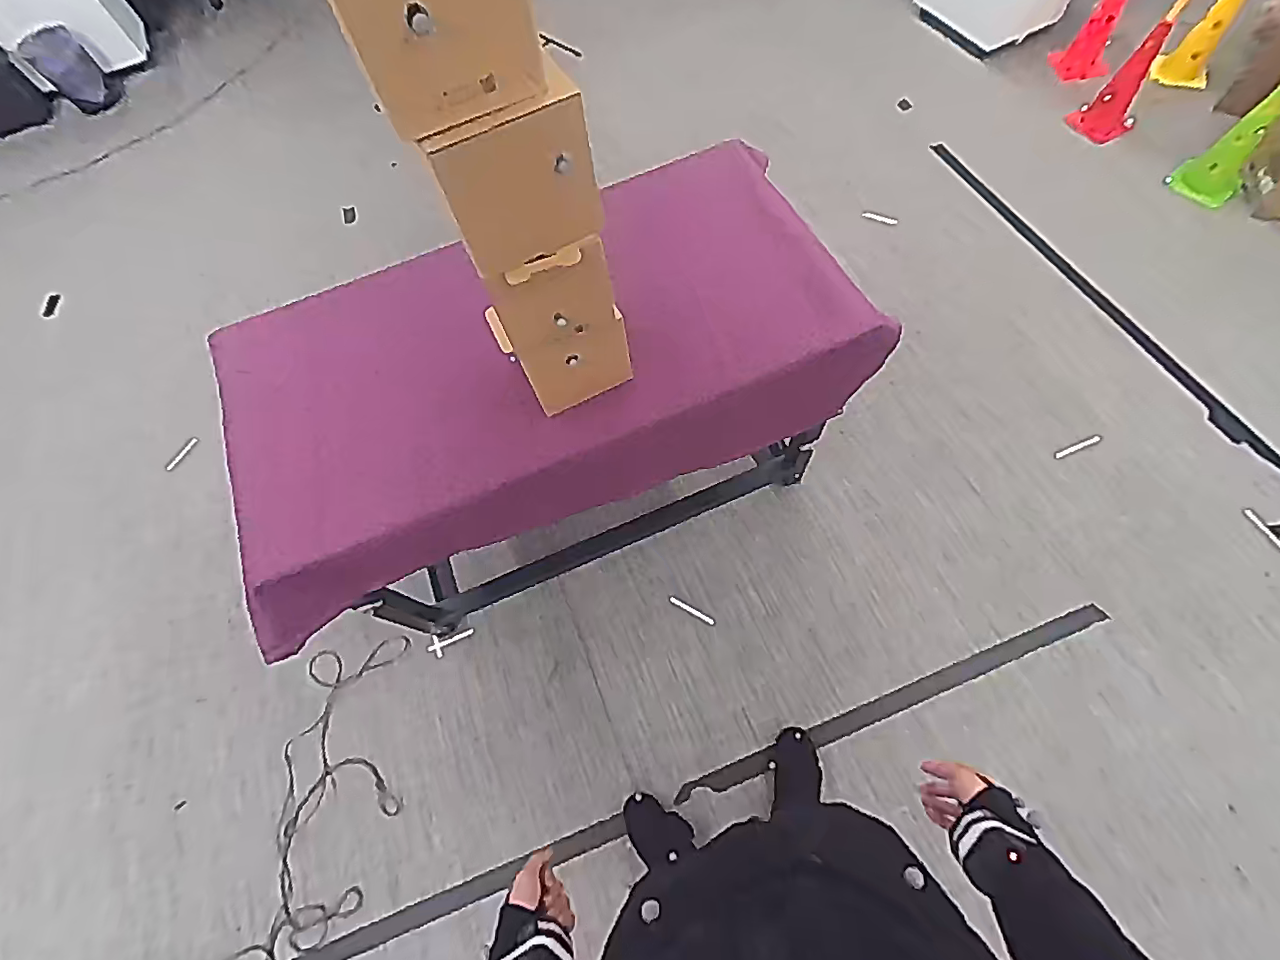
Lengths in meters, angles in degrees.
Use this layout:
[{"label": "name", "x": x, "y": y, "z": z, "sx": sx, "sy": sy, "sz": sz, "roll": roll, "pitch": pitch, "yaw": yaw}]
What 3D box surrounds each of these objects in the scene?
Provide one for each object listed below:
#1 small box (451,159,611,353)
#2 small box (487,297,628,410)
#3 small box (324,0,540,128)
[{"label": "small box", "x": -0.153, "y": -0.323, "z": 0.796, "sx": 0.168, "sy": 0.176, "sz": 0.179, "roll": -22, "pitch": 65, "yaw": -4}, {"label": "small box", "x": -0.136, "y": -0.252, "z": 0.944, "sx": 0.179, "sy": 0.176, "sz": 0.168, "roll": -27, "pitch": 66, "yaw": -7}, {"label": "small box", "x": -0.213, "y": -0.469, "z": 0.507, "sx": 0.168, "sy": 0.176, "sz": 0.179, "roll": -27, "pitch": 65, "yaw": -8}]
